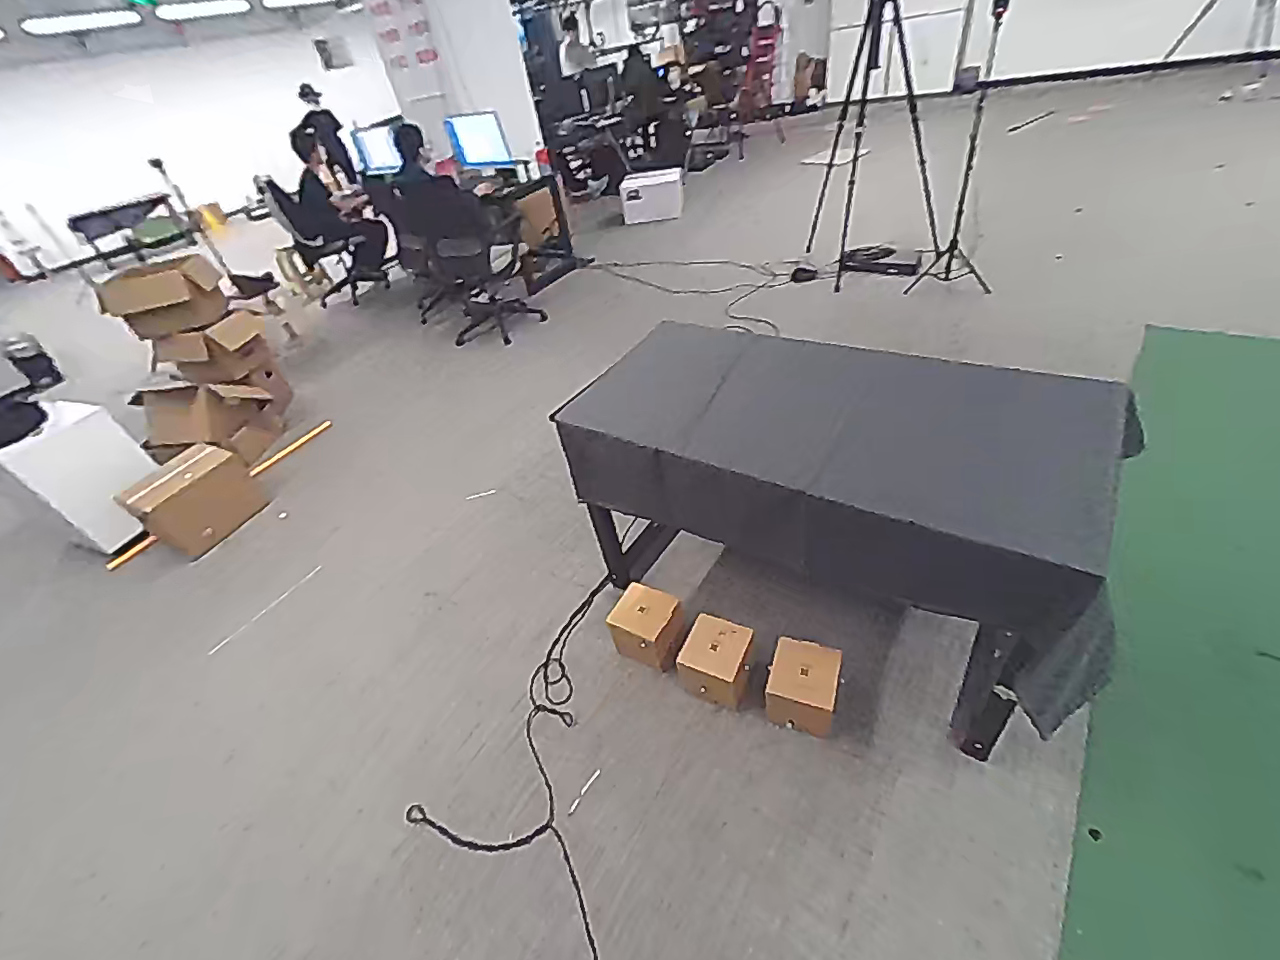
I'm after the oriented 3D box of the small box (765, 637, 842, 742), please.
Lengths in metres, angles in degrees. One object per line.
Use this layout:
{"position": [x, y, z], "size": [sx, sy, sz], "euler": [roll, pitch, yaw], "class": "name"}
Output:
{"position": [0.435, 0.558, 1.443], "size": [0.168, 0.176, 0.179], "euler": [9, 44, 24], "class": "small box"}
